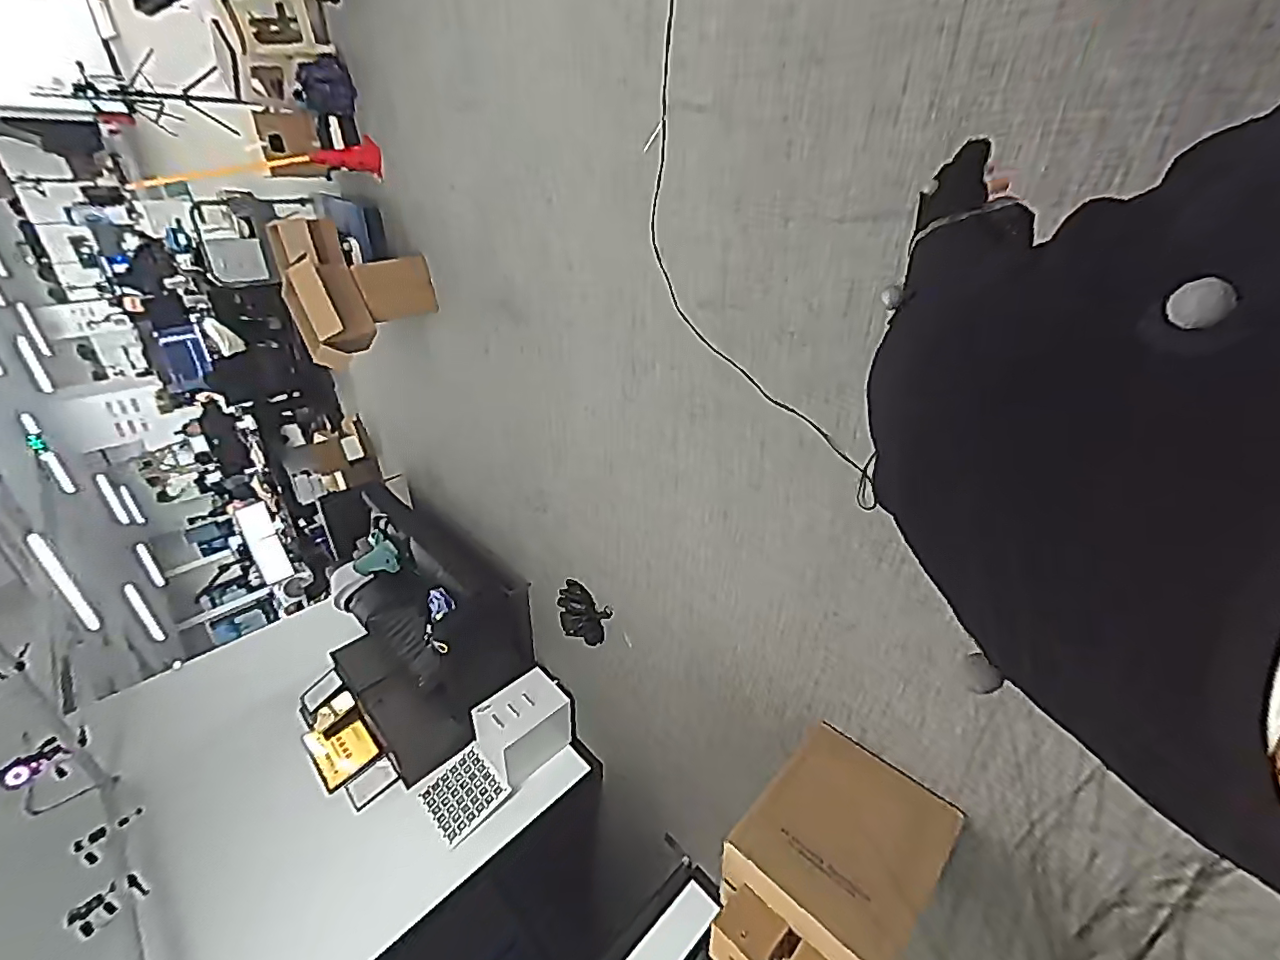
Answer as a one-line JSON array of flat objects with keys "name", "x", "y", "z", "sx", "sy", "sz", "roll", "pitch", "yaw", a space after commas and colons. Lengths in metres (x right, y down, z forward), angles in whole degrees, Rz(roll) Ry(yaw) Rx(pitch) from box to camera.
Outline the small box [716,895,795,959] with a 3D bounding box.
[{"name": "small box", "x": 0.355, "y": 1.442, "z": 1.660, "sx": 0.179, "sy": 0.176, "sz": 0.168, "roll": 20, "pitch": 118, "yaw": 43}]
